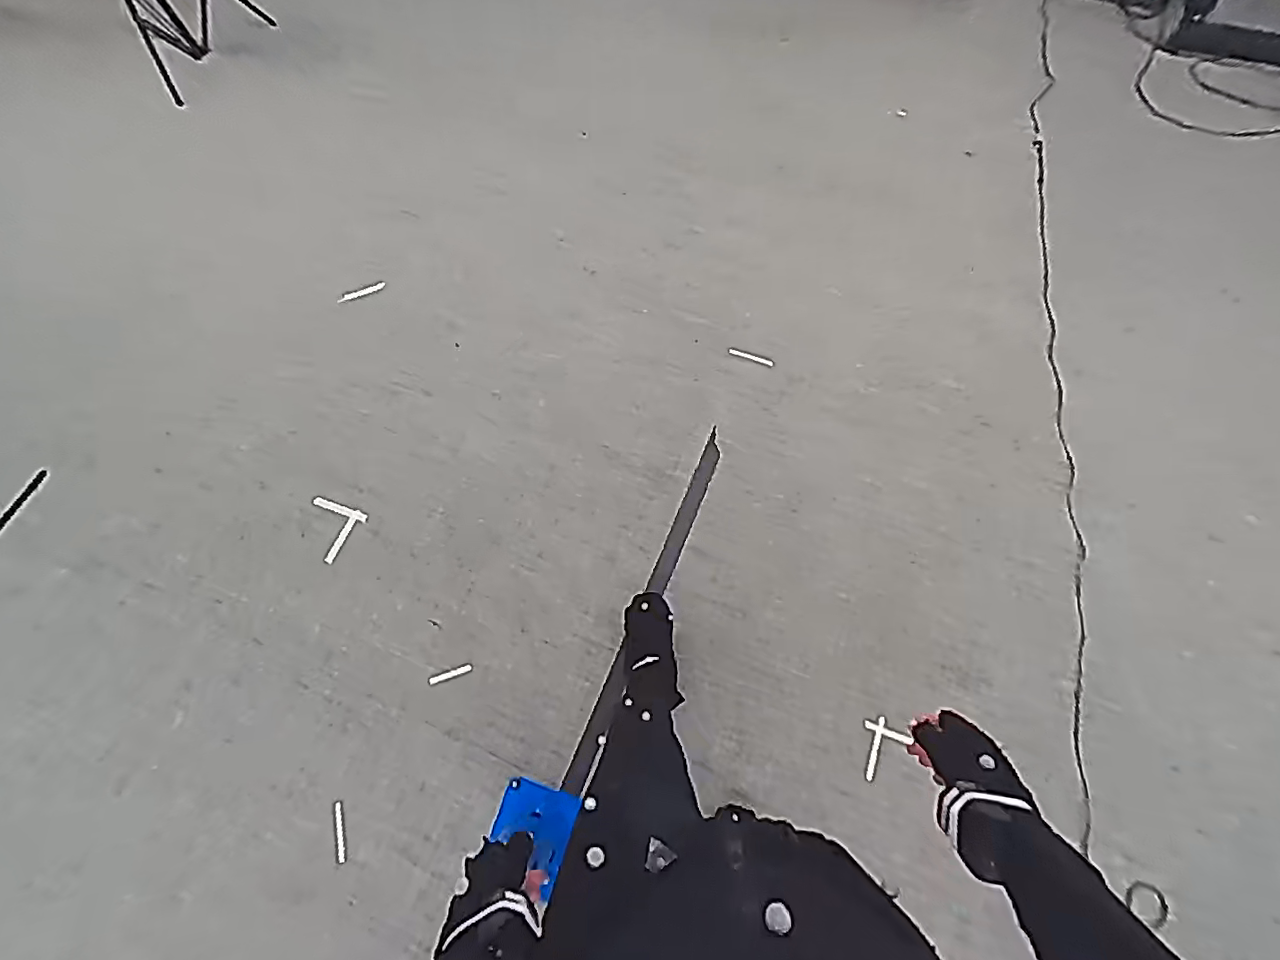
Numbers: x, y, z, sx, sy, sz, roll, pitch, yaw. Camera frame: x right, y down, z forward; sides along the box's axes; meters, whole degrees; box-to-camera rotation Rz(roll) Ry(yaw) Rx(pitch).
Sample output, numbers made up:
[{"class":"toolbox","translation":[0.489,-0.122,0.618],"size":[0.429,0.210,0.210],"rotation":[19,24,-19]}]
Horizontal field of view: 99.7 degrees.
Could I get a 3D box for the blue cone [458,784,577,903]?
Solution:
[{"class":"blue cone","translation":[-0.255,0.730,1.040],"size":[0.192,0.380,0.193],"rotation":[16,68,11]}]
